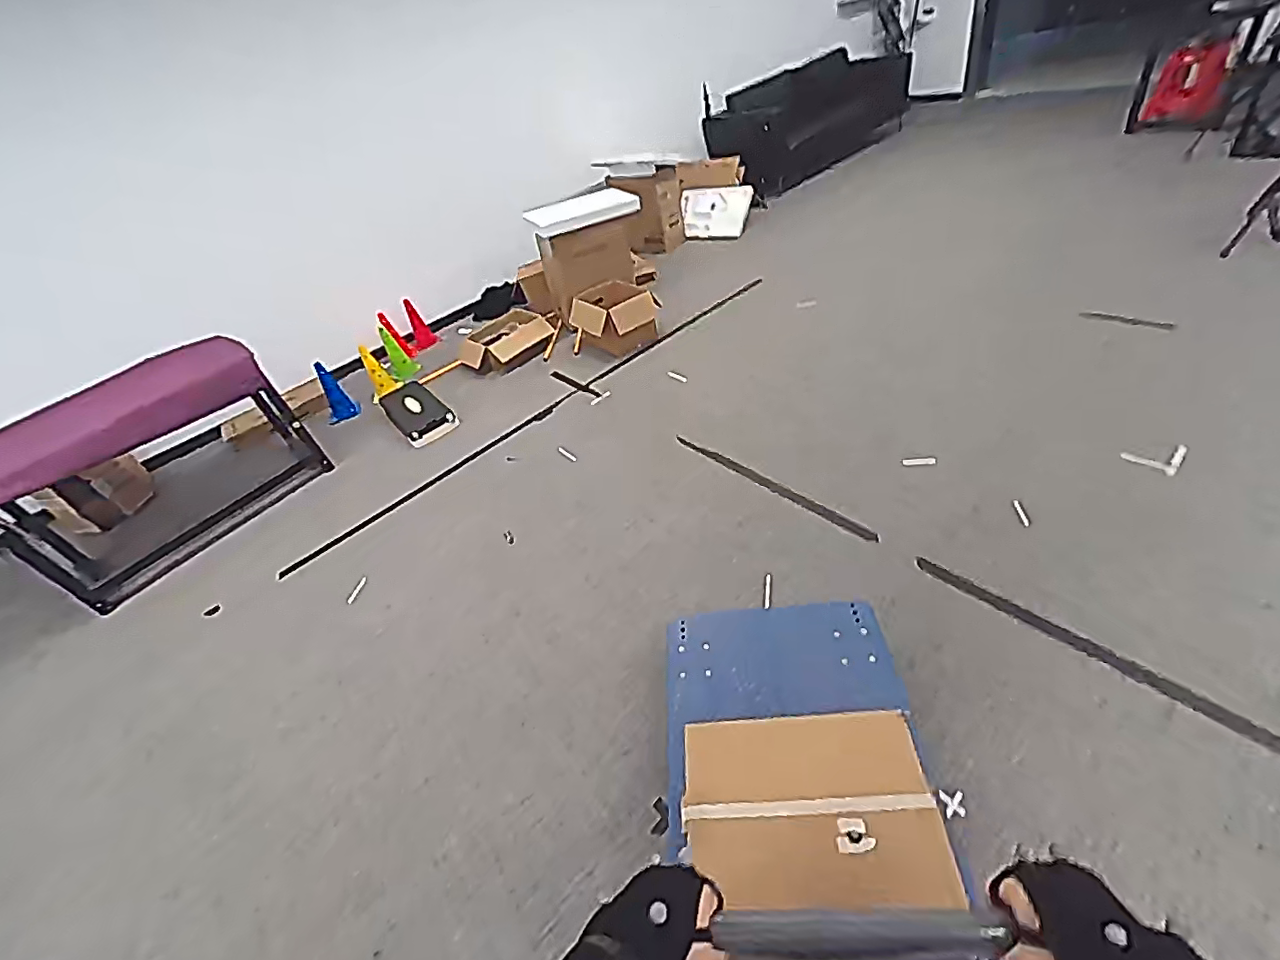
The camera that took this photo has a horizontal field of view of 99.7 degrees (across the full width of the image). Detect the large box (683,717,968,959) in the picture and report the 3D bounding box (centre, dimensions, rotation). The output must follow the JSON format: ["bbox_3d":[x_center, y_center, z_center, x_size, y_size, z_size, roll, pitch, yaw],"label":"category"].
[{"bbox_3d":[0.302,0.672,0.993,0.408,0.320,0.320,-7,40,9],"label":"large box"}]
